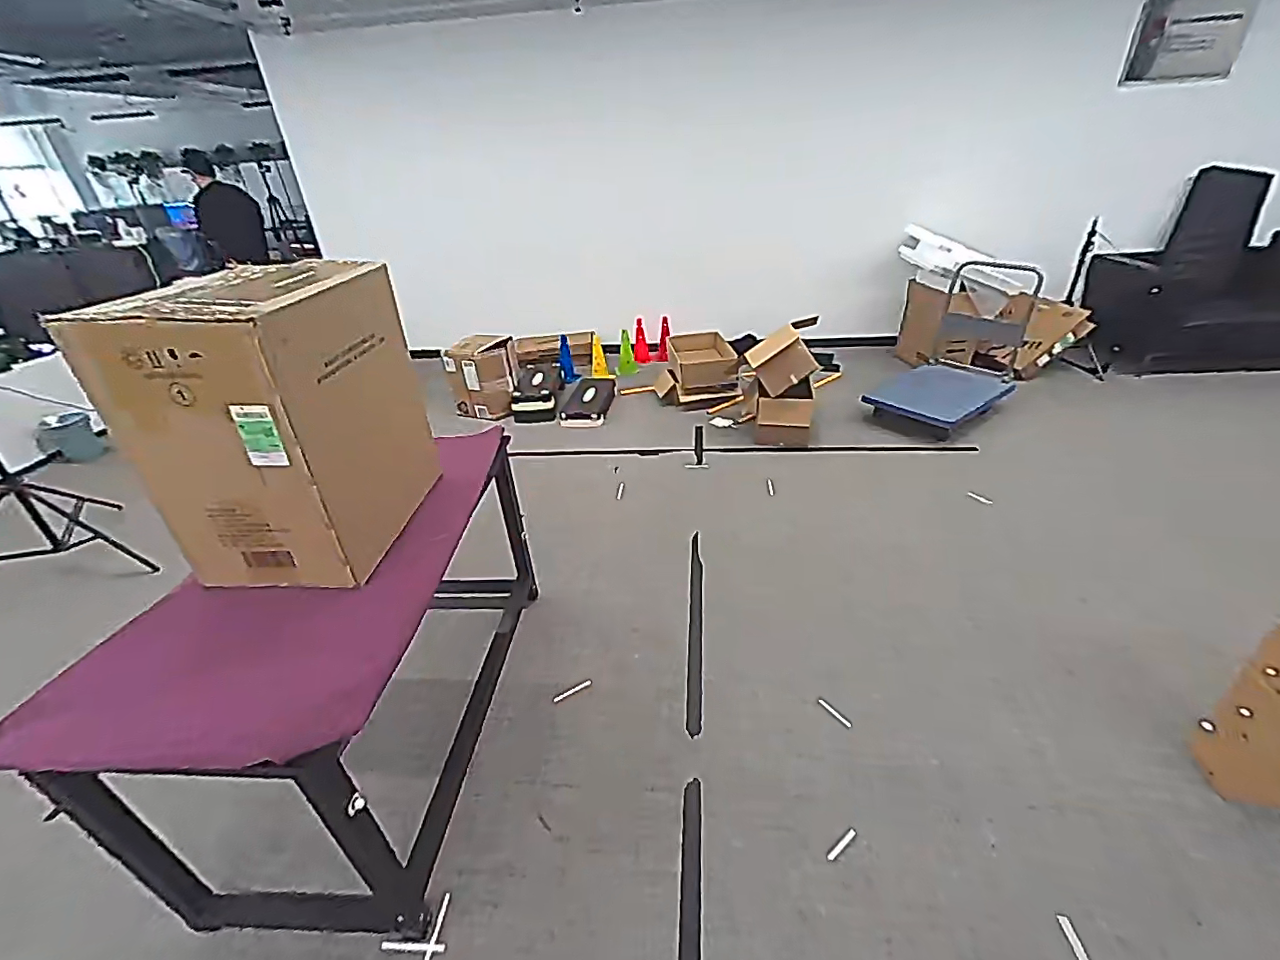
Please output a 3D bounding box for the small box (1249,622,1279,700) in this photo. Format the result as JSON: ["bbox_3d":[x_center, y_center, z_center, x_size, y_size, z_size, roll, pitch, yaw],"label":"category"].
[{"bbox_3d":[1.648,0.453,1.290,0.179,0.176,0.168,3,31,11],"label":"small box"}]

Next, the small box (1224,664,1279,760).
[{"bbox_3d":[1.653,0.595,1.368,0.179,0.176,0.168,4,32,11],"label":"small box"}]
